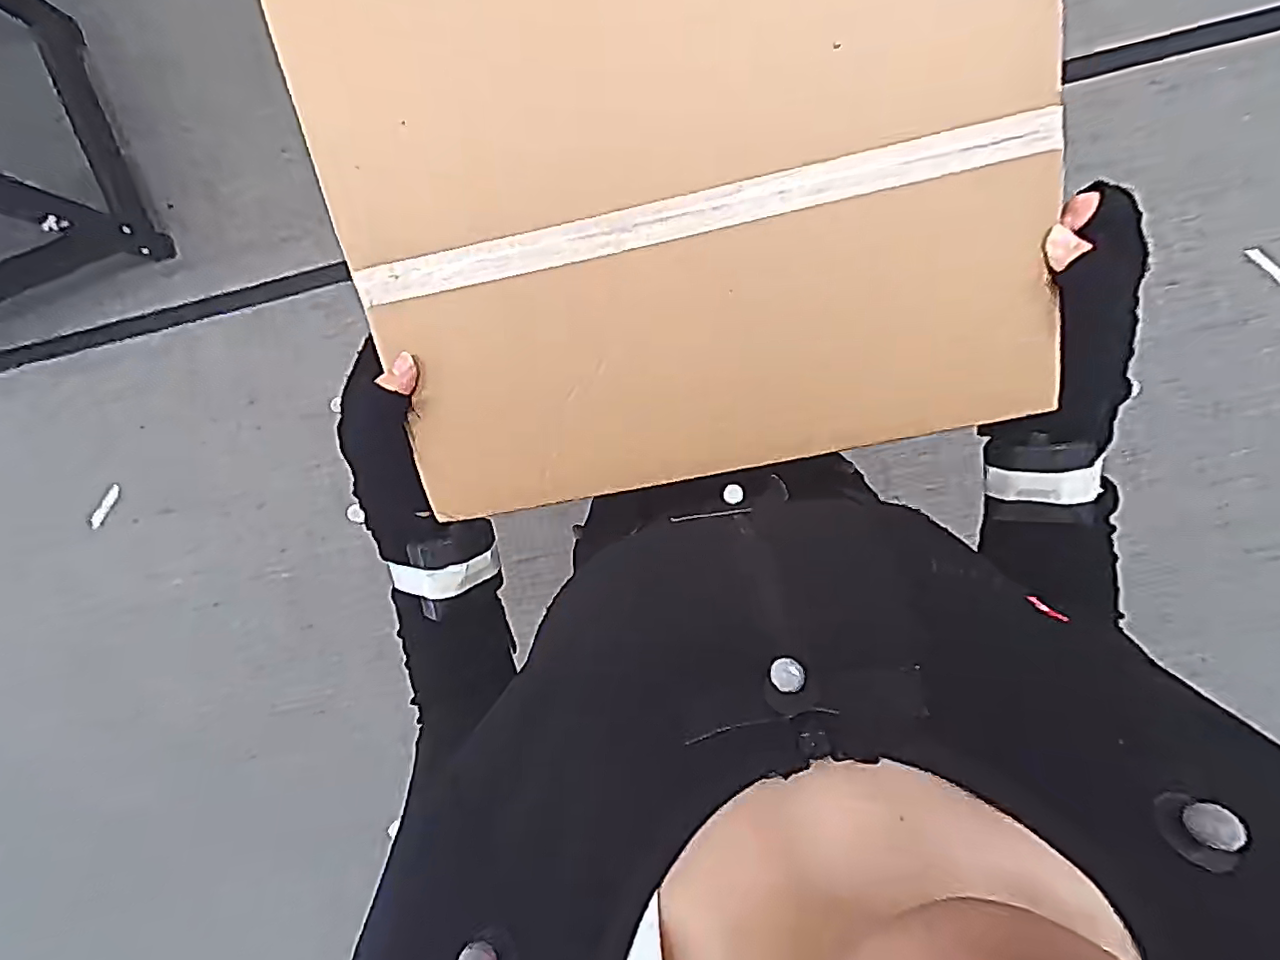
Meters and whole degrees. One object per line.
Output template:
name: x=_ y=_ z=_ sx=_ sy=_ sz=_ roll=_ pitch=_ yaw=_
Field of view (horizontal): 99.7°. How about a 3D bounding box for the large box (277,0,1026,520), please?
large box: x=0.028 y=-0.197 z=0.464 sx=0.408 sy=0.320 sz=0.320 roll=-11 pitch=106 yaw=5
